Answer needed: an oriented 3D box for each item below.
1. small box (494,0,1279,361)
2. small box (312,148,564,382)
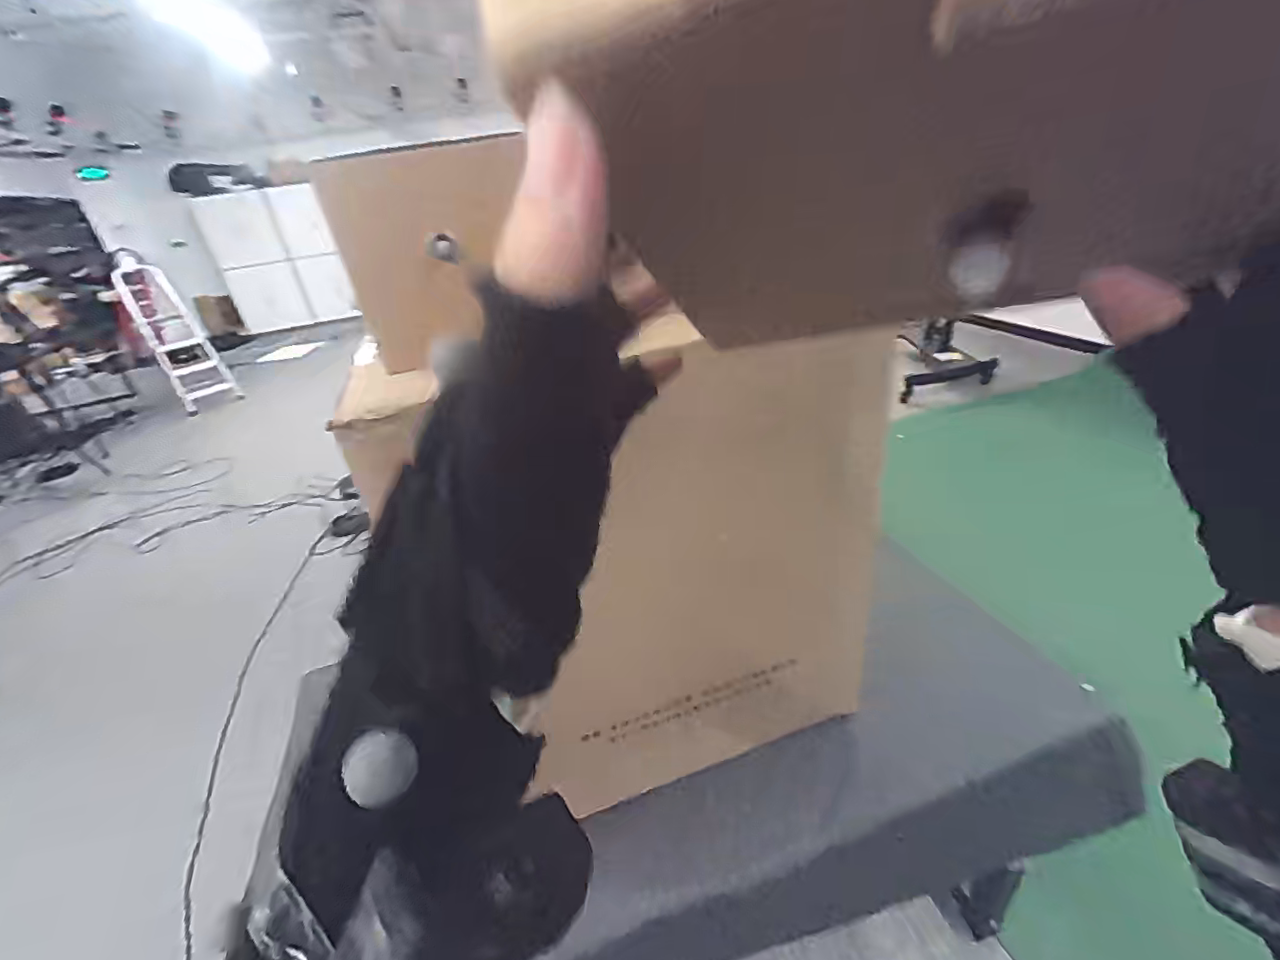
[{"bbox_3d":[0.078,-0.137,0.143,0.168,0.179,0.176,-5,-3,21],"label":"small box"},{"bbox_3d":[-0.183,-0.217,0.533,0.179,0.176,0.168,-19,33,-13],"label":"small box"}]
